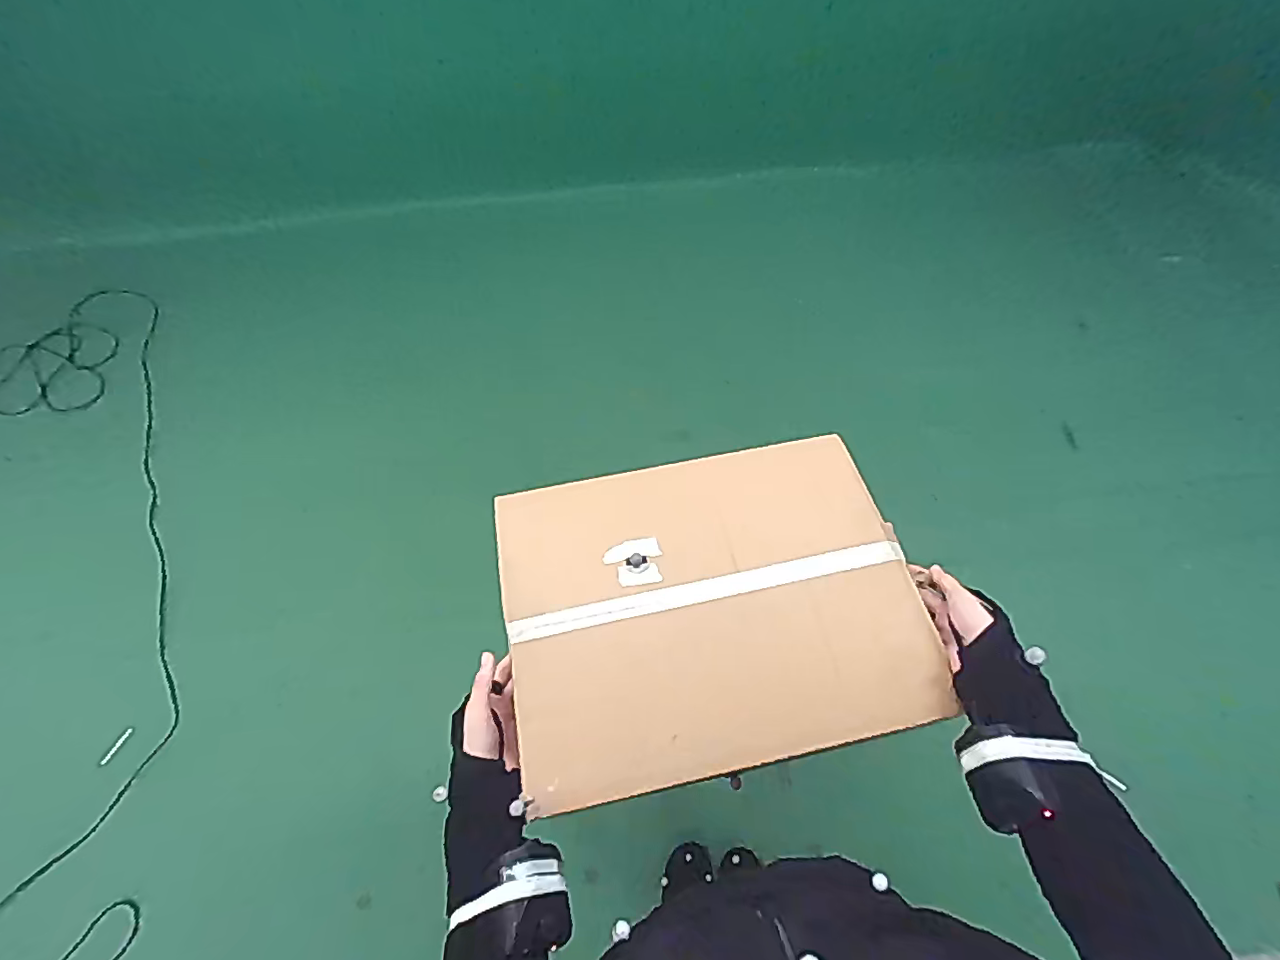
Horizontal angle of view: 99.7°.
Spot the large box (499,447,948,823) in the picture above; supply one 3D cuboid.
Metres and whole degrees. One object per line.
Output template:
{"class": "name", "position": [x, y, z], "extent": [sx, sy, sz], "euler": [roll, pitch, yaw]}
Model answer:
{"class": "large box", "position": [0.069, 0.199, 0.684], "extent": [0.408, 0.320, 0.320], "euler": [-11, 60, -5]}
